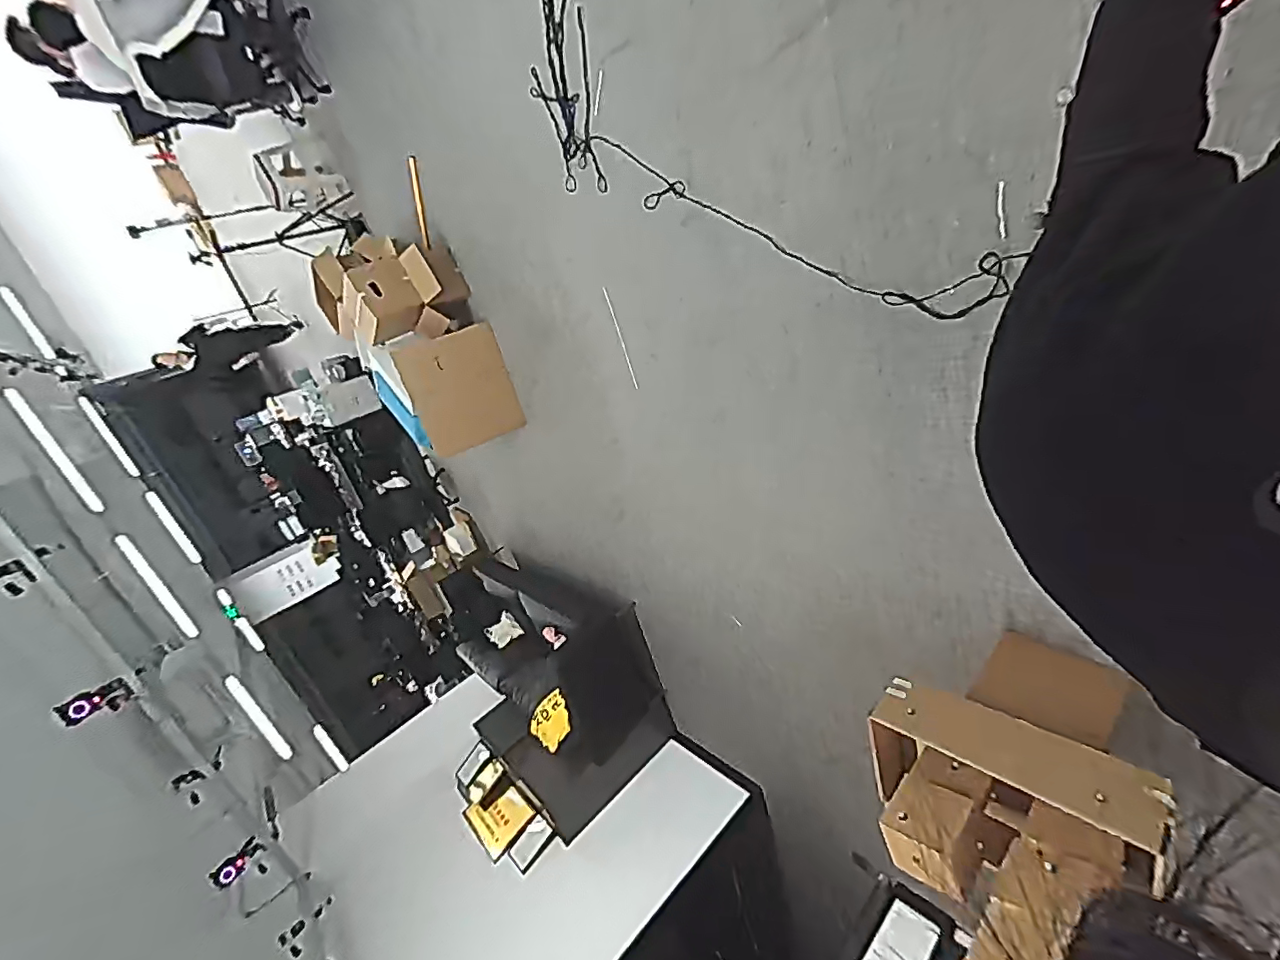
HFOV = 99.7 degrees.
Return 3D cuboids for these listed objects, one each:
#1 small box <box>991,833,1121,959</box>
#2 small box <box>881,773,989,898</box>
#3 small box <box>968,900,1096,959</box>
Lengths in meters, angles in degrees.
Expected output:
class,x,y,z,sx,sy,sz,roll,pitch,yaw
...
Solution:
class,x,y,z,sx,sy,sz,roll,pitch,yaw
small box,0.920,0.937,1.192,0.168,0.176,0.179,-15,104,56
small box,0.750,0.888,1.375,0.179,0.176,0.168,-1,118,52
small box,0.809,1.004,1.091,0.168,0.176,0.179,56,148,4
